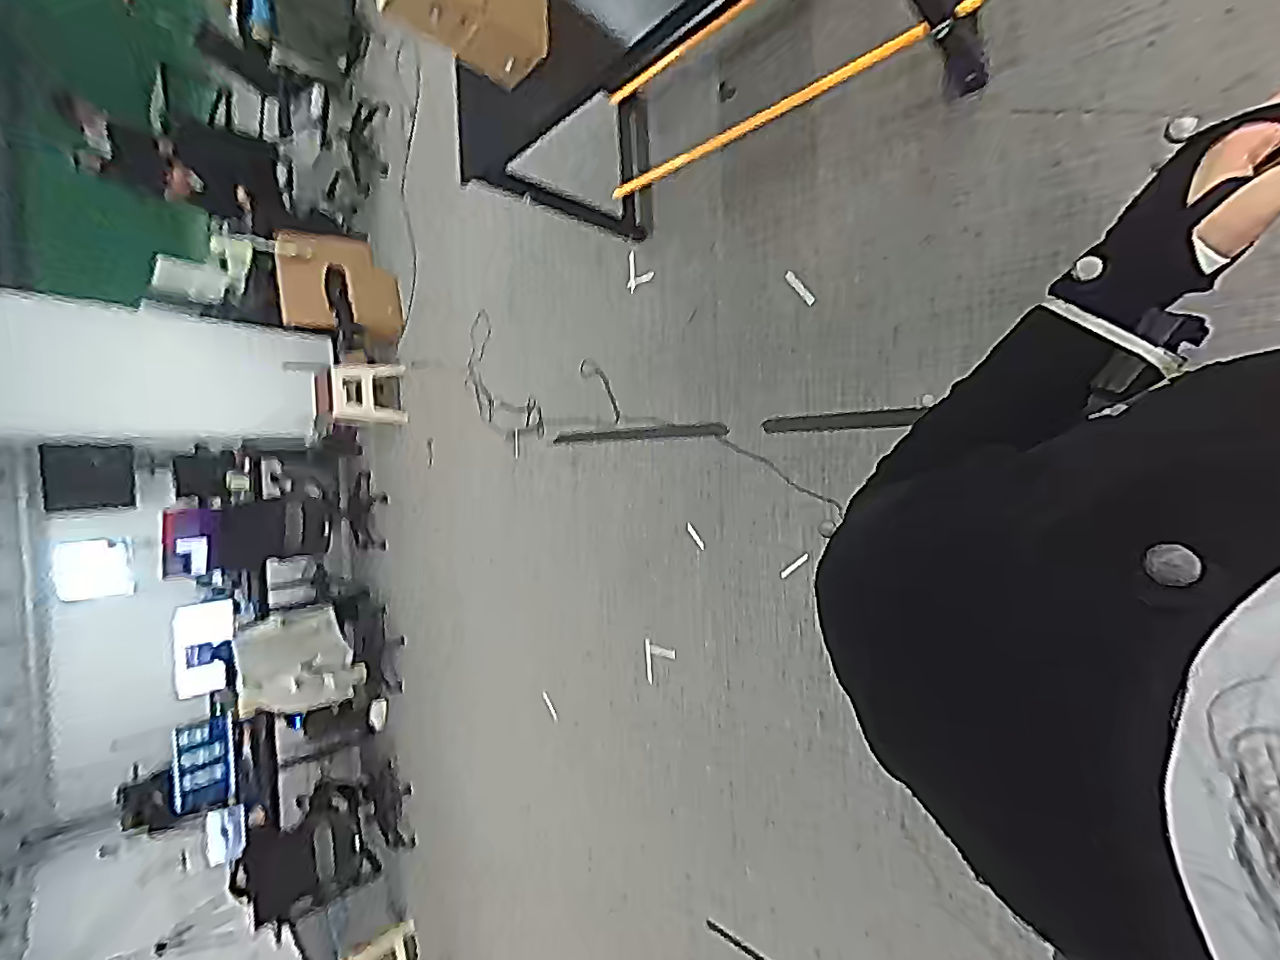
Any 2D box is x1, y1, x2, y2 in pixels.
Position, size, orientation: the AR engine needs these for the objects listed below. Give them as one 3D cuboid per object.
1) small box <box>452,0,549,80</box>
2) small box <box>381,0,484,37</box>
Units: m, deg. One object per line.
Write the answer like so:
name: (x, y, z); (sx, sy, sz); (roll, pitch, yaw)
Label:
small box: (-0.329, -1.106, 1.277); (0.168, 0.176, 0.179); (2, 94, 45)
small box: (-0.446, -1.108, 1.162); (0.168, 0.176, 0.179); (-2, 91, 45)
